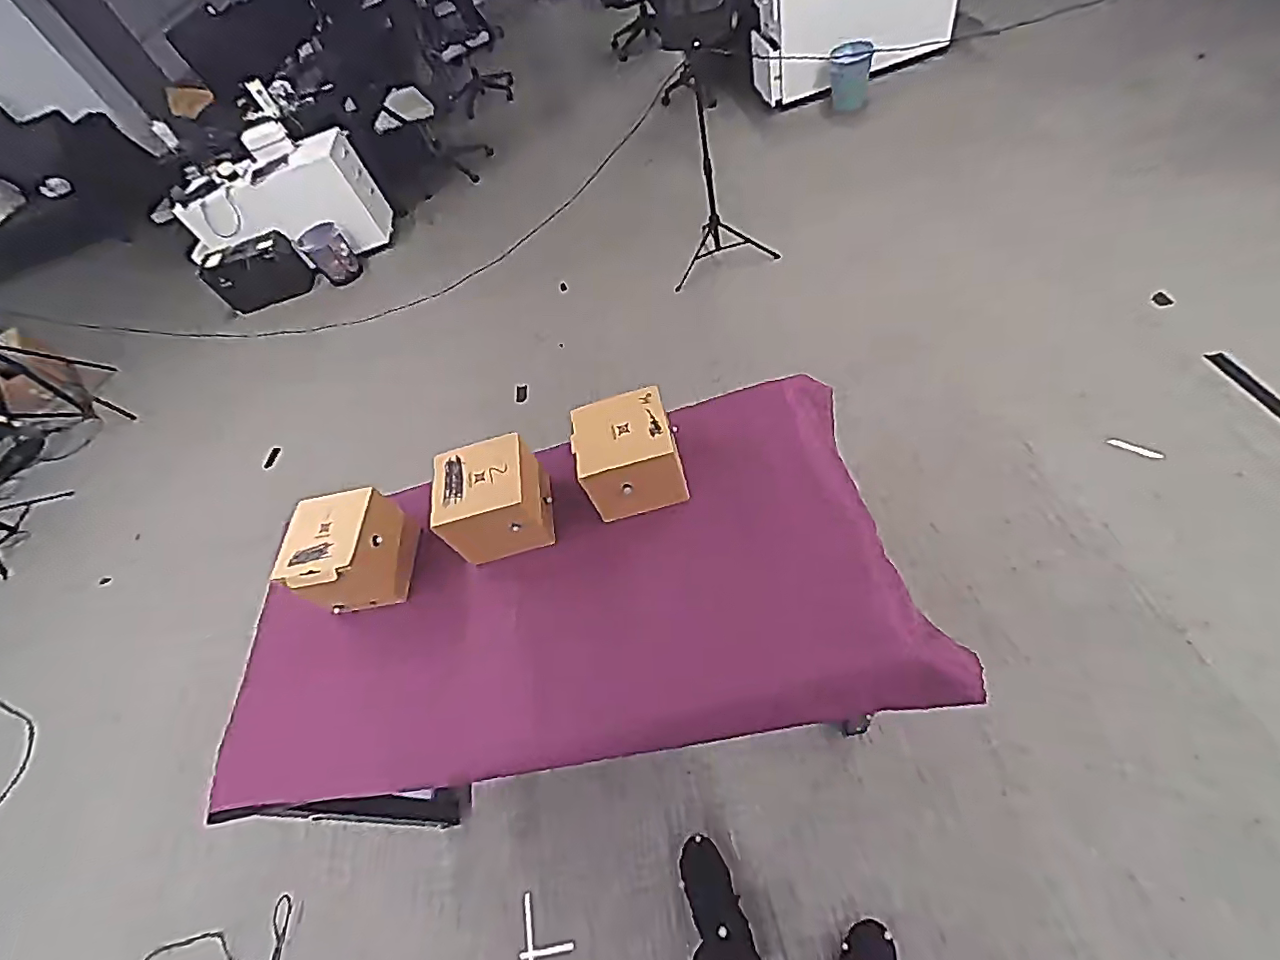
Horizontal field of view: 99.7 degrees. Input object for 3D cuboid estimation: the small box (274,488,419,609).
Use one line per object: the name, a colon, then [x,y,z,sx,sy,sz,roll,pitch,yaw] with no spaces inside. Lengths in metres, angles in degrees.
small box: [-0.563,0.143,1.066,0.168,0.176,0.179,-11,54,9]
